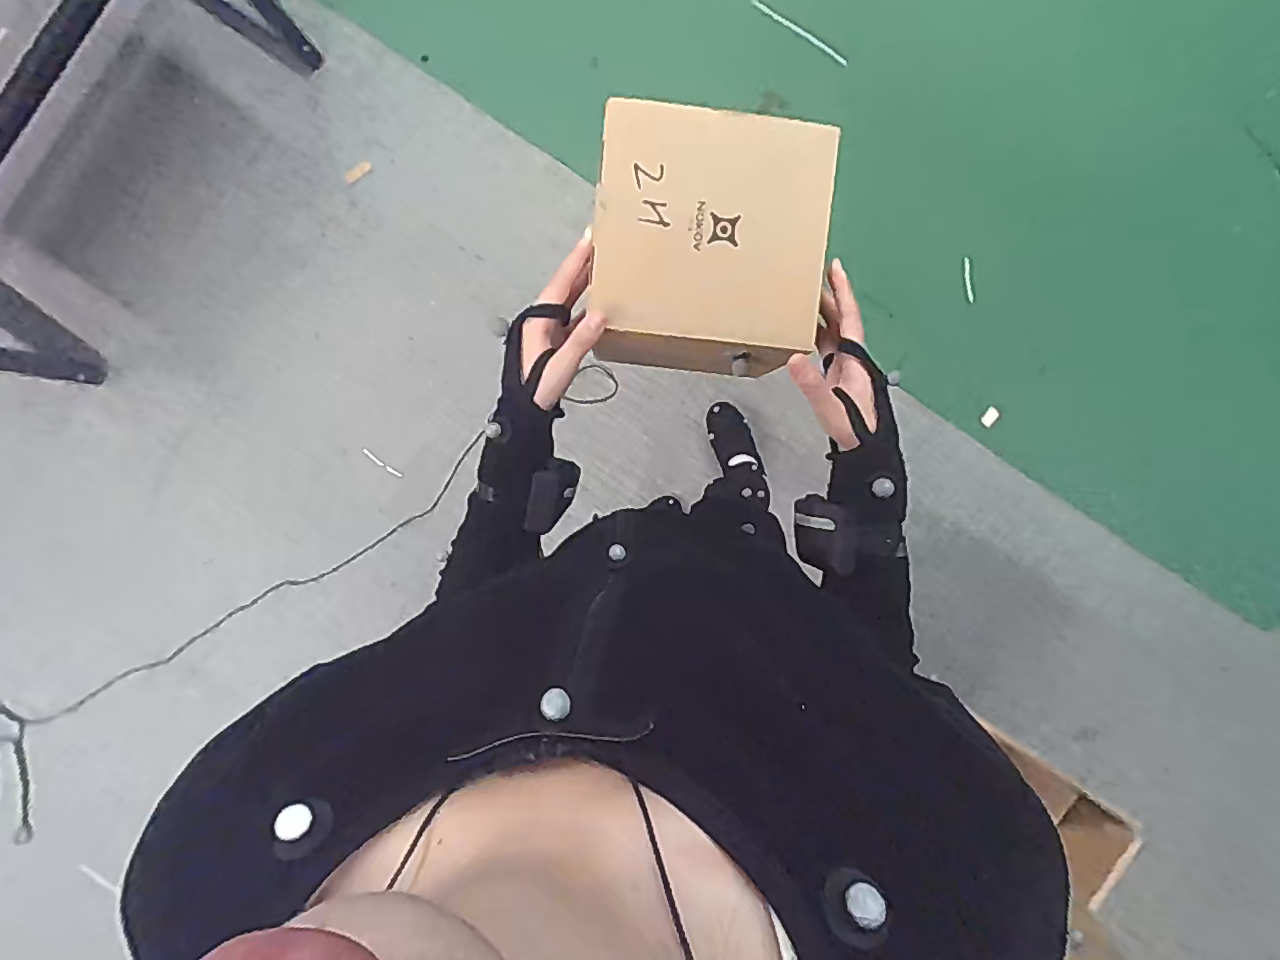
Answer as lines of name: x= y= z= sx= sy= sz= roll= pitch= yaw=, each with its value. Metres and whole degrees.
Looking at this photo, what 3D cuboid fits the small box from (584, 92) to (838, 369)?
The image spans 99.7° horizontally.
small box: x=0.048 y=-0.196 z=0.479 sx=0.179 sy=0.176 sz=0.168 roll=5 pitch=94 yaw=-3
